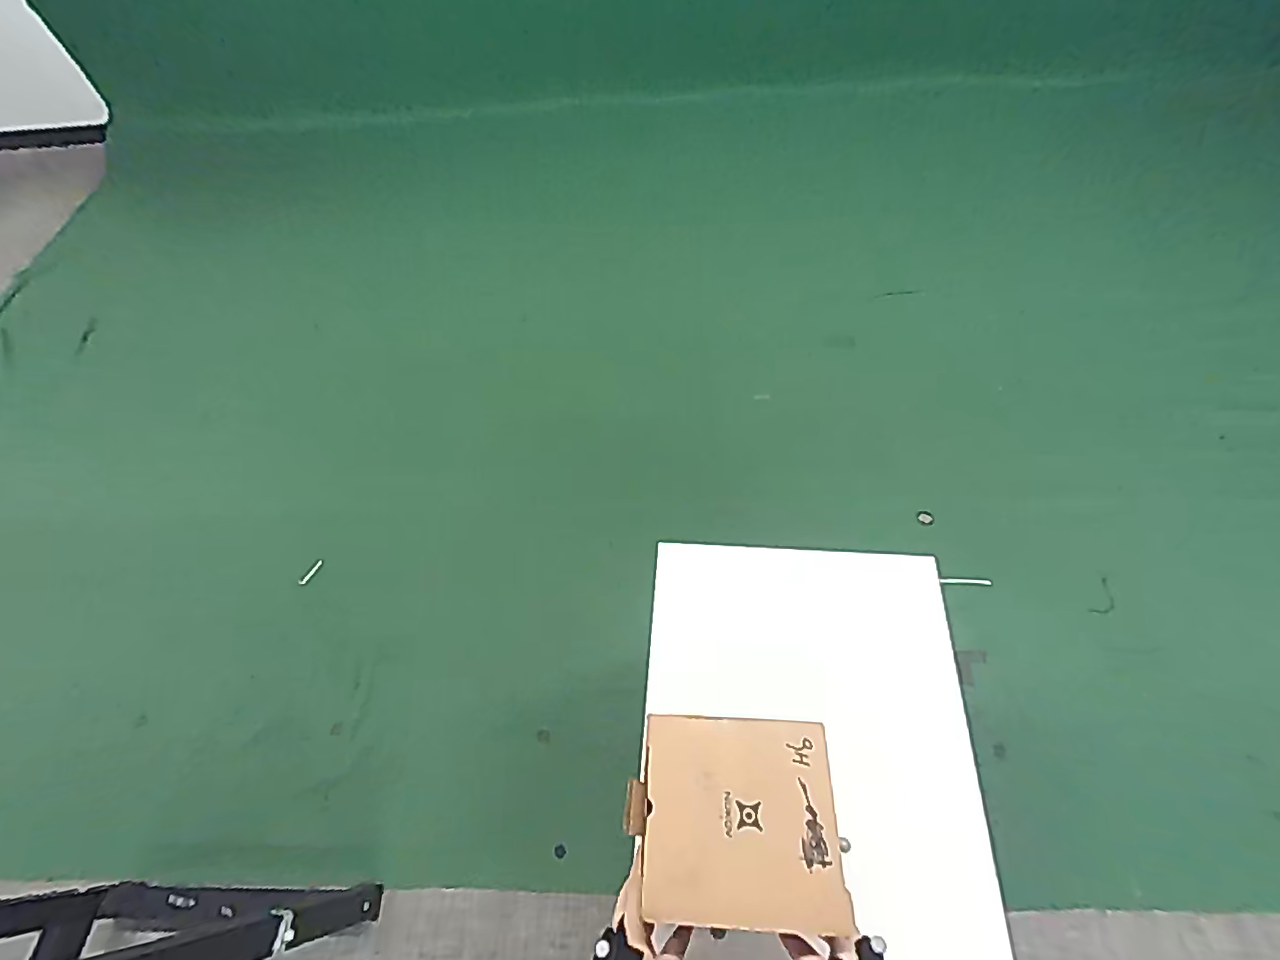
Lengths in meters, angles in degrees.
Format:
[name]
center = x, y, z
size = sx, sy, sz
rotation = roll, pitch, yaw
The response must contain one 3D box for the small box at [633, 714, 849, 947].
[small box]
center = 0.091, 0.346, 0.544
size = 0.179, 0.176, 0.168
rotation = 2, 55, 5
